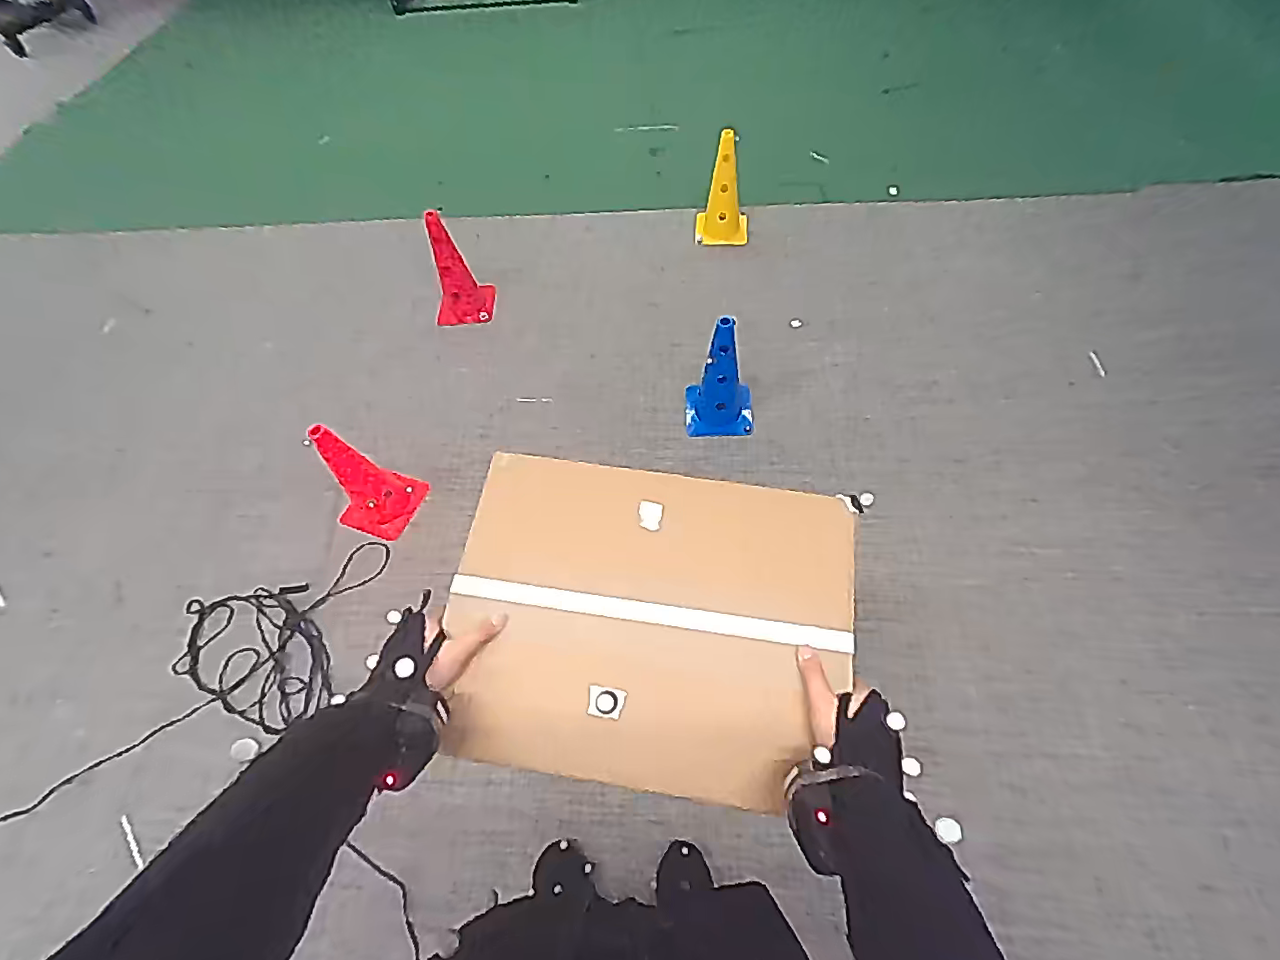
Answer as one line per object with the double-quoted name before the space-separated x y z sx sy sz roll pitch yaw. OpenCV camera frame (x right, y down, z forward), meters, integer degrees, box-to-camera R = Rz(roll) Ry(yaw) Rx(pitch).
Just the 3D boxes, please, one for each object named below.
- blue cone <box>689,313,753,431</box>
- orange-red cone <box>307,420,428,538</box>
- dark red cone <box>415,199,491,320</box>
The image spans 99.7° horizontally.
"blue cone" 0.234 -0.312 1.519 0.192 0.380 0.193 0 58 5
"orange-red cone" -0.749 -0.029 1.412 0.199 0.360 0.198 17 60 16
"dark red cone" -0.657 -0.748 1.829 0.202 0.394 0.201 -7 55 1
